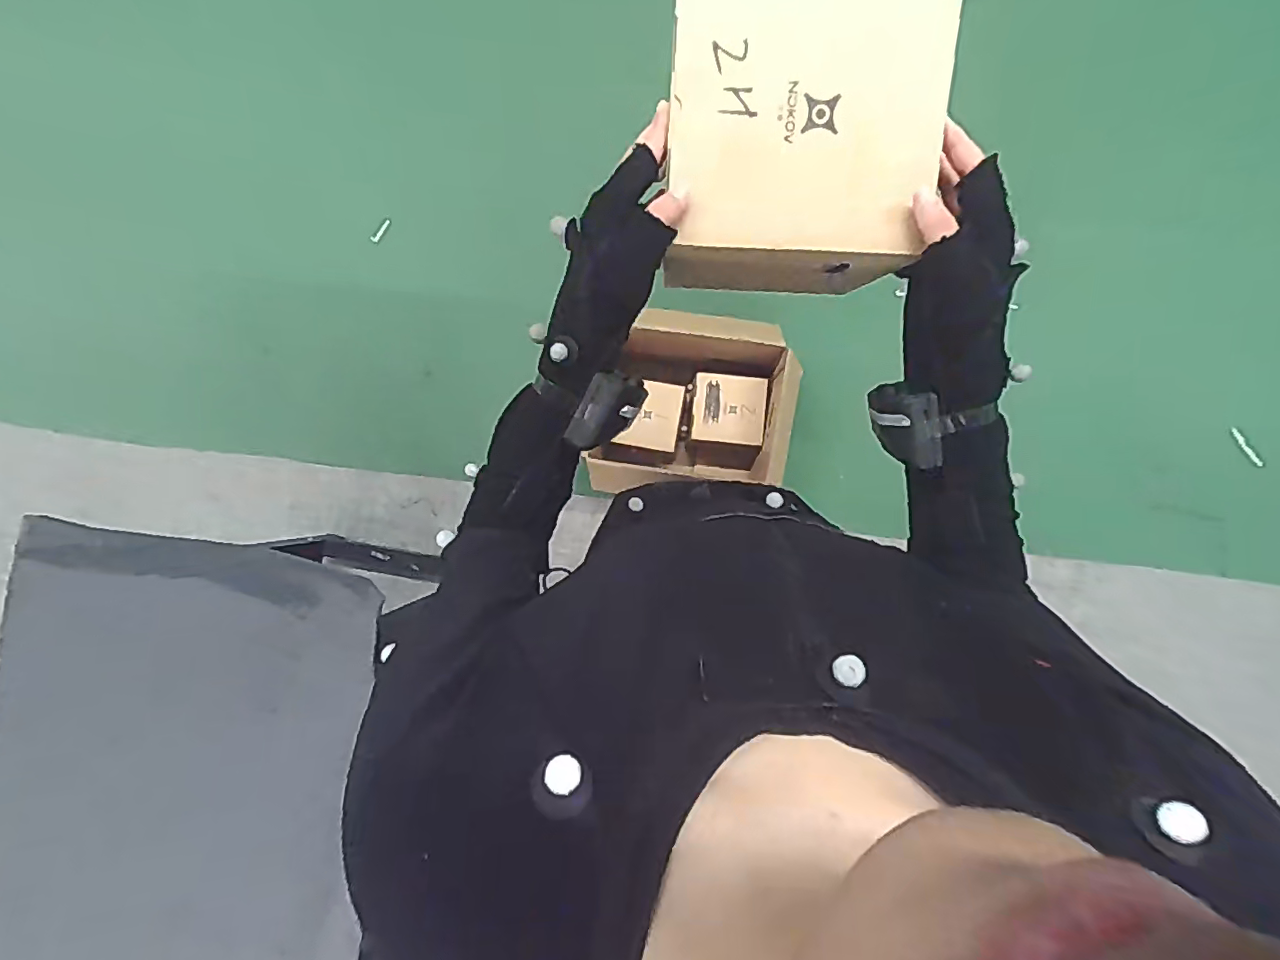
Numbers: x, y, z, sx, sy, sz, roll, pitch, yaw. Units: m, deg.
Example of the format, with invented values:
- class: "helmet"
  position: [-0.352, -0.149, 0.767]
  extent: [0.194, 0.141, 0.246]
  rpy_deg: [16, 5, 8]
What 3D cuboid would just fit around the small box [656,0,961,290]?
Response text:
- class: "small box"
  position: [0.104, -0.246, 0.414]
  extent: [0.179, 0.176, 0.168]
  rpy_deg: [3, 101, 3]
